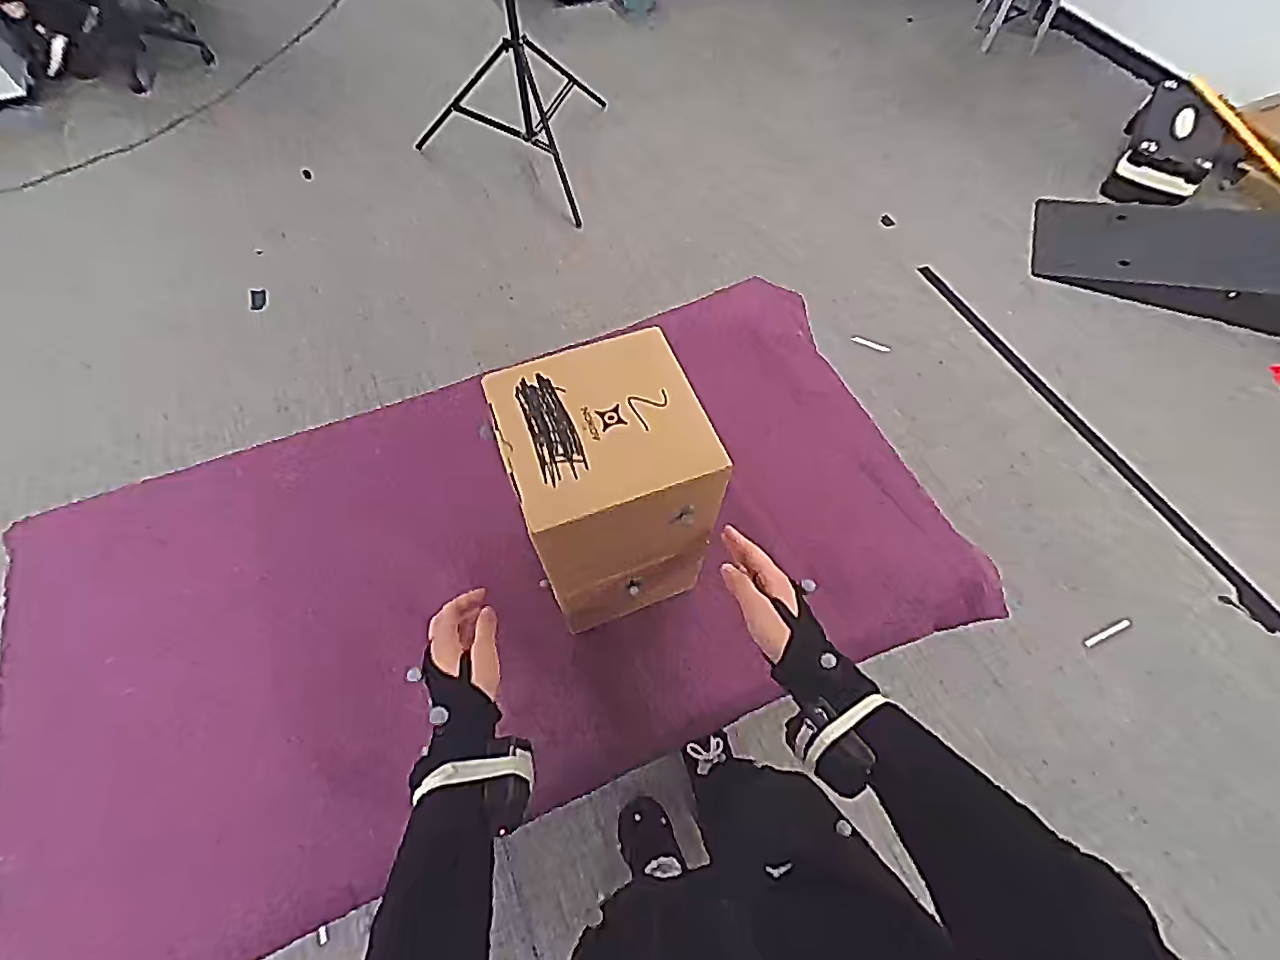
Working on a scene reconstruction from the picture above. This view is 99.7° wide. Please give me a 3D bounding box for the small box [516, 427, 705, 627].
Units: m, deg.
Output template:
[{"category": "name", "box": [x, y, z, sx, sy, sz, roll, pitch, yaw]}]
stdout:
[{"category": "small box", "box": [-0.037, 0.066, 0.680, 0.179, 0.176, 0.168, -19, 64, -12]}]
